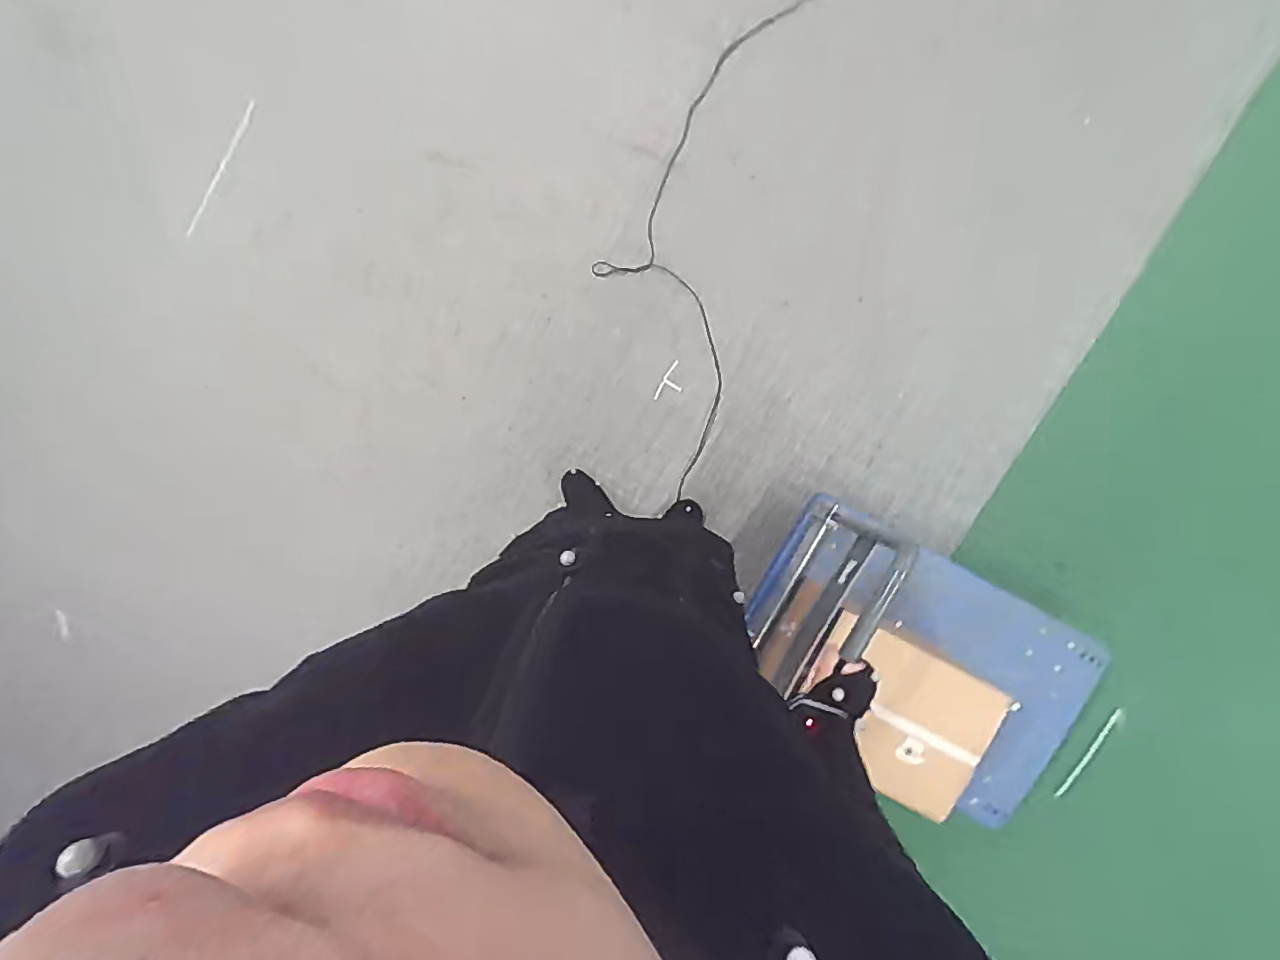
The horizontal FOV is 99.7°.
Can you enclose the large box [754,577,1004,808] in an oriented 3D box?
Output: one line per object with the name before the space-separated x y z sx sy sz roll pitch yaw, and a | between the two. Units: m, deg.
large box | 0.543 0.486 1.318 0.408 0.320 0.320 28 94 1
